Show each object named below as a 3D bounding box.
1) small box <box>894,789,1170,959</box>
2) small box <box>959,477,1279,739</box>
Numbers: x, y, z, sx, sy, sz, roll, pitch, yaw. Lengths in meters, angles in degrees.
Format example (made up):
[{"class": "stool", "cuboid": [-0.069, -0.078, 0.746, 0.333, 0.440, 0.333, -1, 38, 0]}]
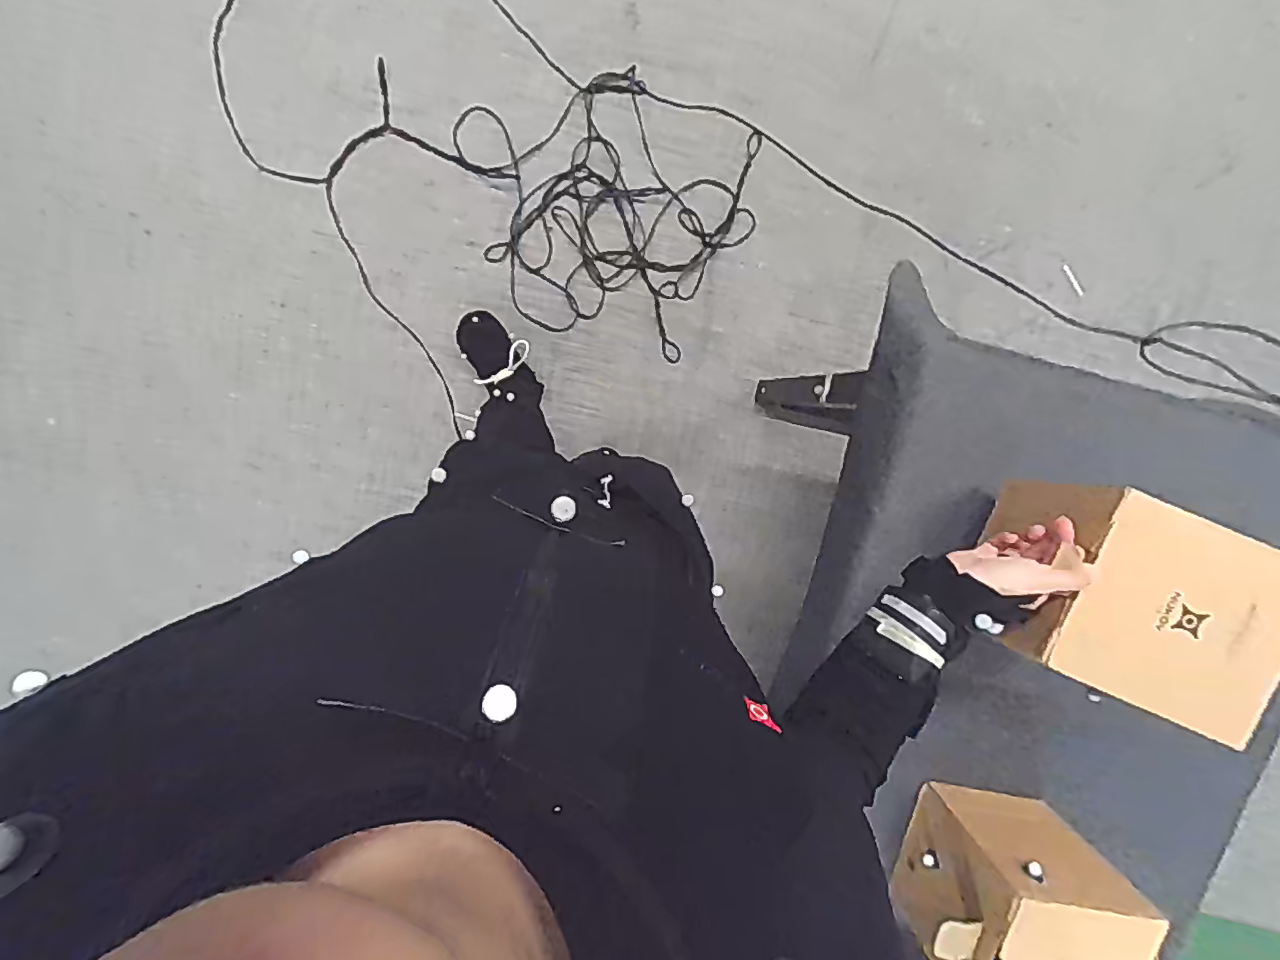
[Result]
[{"class": "small box", "cuboid": [0.444, 0.503, 0.643, 0.179, 0.176, 0.168, 12, 98, -5]}, {"class": "small box", "cuboid": [0.454, 0.104, 0.522, 0.179, 0.176, 0.168, 23, 94, 3]}]
